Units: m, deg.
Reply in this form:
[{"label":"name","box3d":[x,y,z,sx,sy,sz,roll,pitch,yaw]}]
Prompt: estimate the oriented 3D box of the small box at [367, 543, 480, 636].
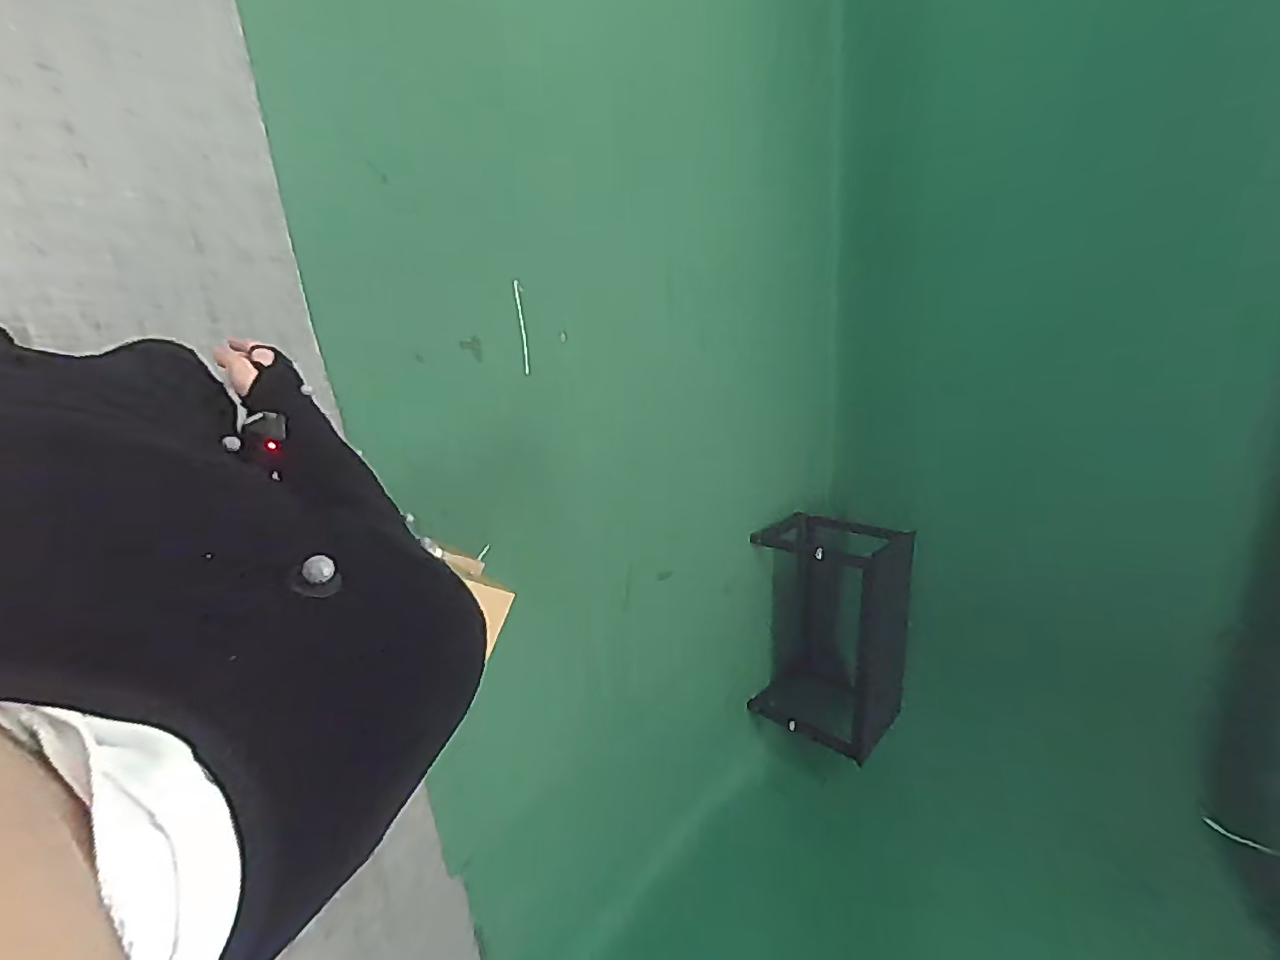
[{"label":"small box","box3d":[-0.542,0.267,1.347,0.179,0.176,0.168,34,74,-45]}]
